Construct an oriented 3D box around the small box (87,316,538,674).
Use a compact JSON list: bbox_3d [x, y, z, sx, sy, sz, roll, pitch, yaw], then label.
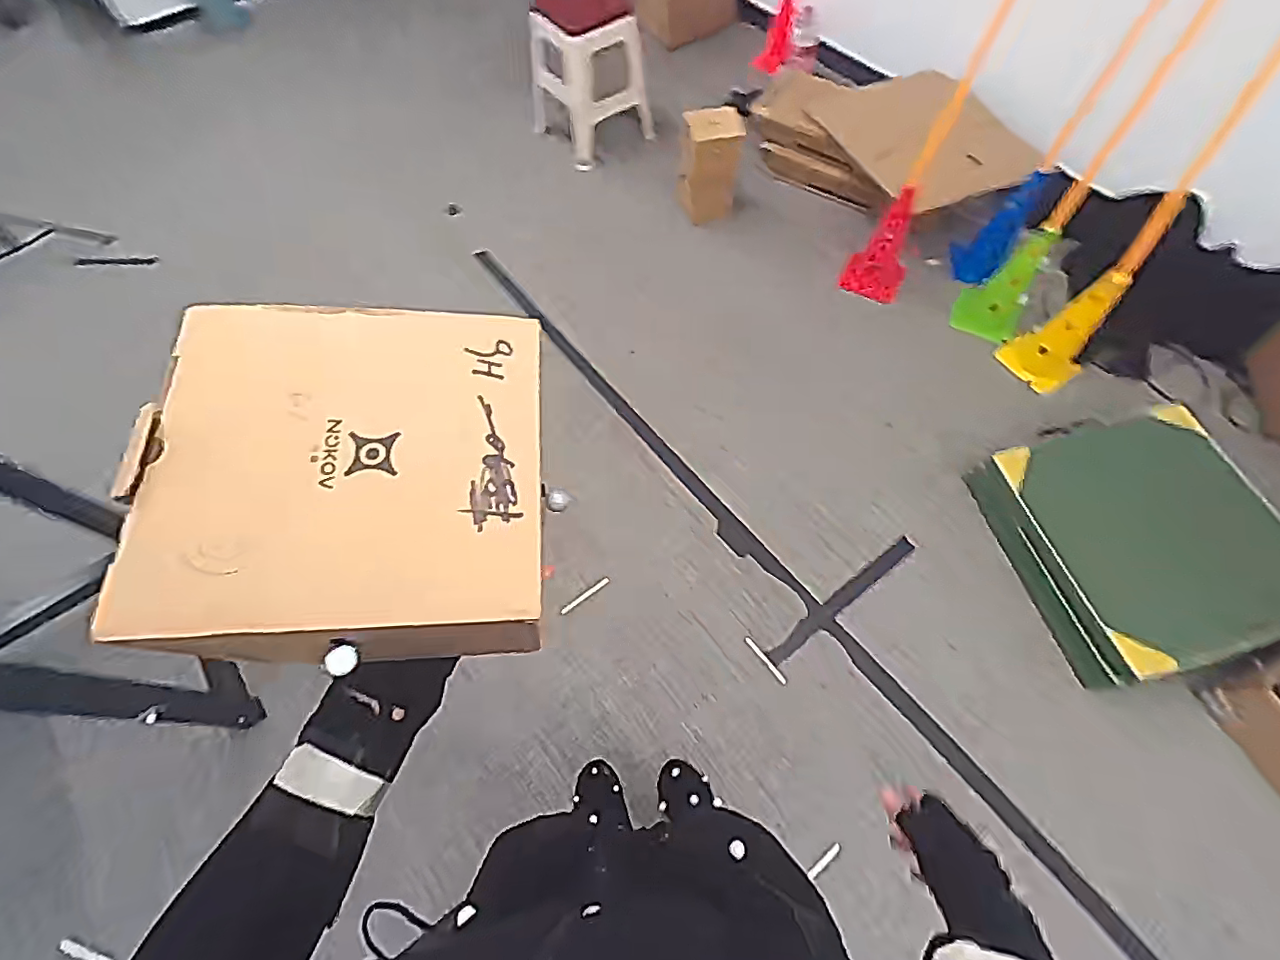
[{"bbox_3d":[-0.158,0.020,0.332,0.179,0.176,0.168,-4,68,-11],"label":"small box"}]
